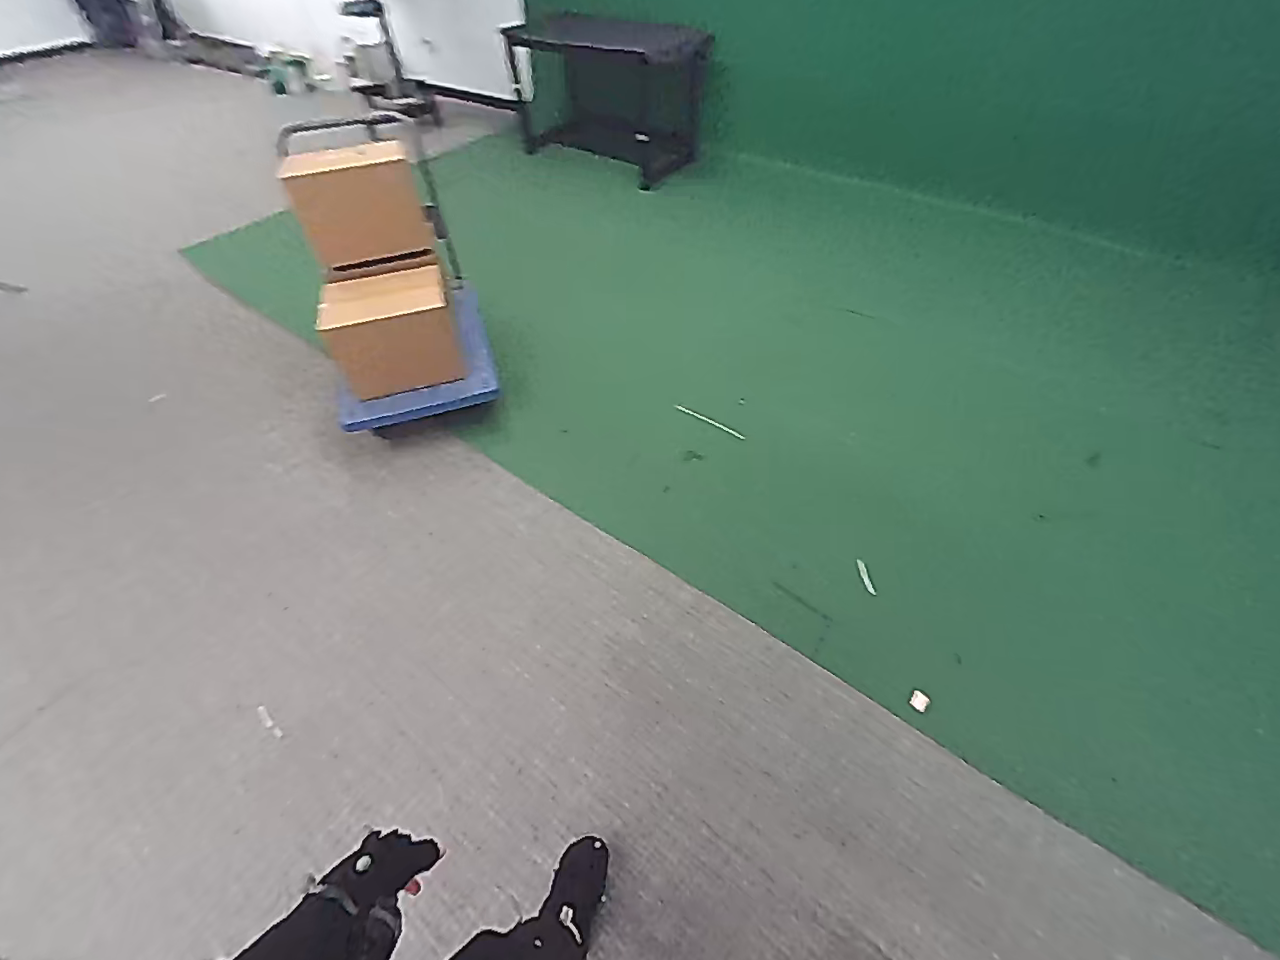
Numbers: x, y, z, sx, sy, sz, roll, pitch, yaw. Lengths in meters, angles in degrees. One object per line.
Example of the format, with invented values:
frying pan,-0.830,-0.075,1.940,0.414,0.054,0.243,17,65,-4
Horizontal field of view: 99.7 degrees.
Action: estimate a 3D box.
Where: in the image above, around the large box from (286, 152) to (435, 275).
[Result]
large box,-1.026,-1.000,2.022,0.408,0.320,0.320,-16,45,-13
